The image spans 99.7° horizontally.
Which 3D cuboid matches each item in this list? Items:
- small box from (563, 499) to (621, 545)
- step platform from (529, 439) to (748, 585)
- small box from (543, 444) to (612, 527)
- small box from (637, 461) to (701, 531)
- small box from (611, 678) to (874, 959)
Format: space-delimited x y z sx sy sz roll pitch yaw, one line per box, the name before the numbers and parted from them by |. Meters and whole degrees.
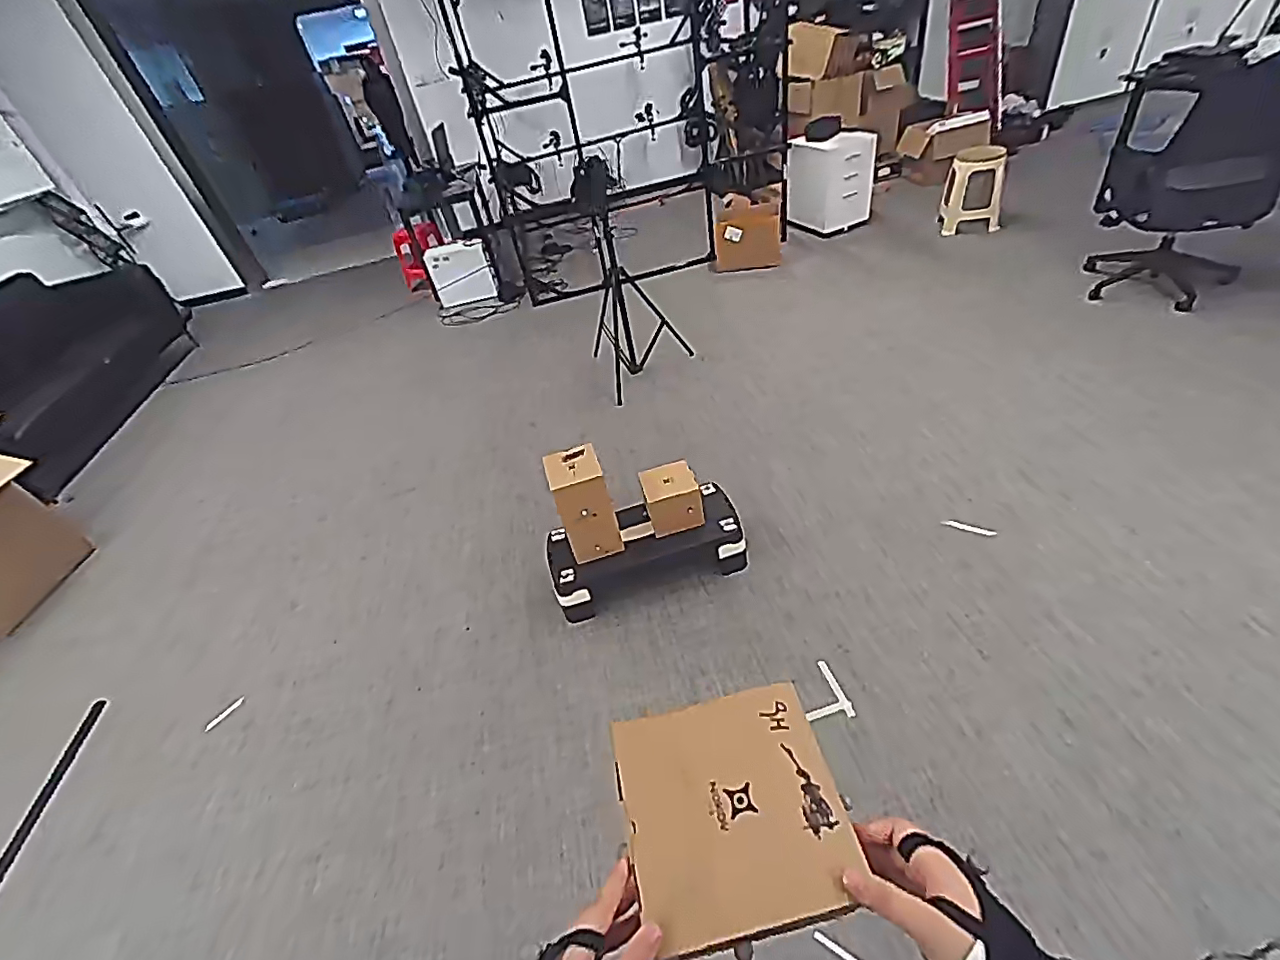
small box | -0.166 0.144 1.807 0.168 0.176 0.179 -17 40 -5
step platform | -0.003 0.101 1.761 0.684 0.204 0.286 -16 40 -5
small box | -0.197 0.019 1.706 0.168 0.176 0.179 -18 41 -6
small box | 0.102 0.066 1.830 0.179 0.176 0.168 -17 39 -4
small box | 0.081 0.313 0.496 0.179 0.176 0.168 -12 46 -4
